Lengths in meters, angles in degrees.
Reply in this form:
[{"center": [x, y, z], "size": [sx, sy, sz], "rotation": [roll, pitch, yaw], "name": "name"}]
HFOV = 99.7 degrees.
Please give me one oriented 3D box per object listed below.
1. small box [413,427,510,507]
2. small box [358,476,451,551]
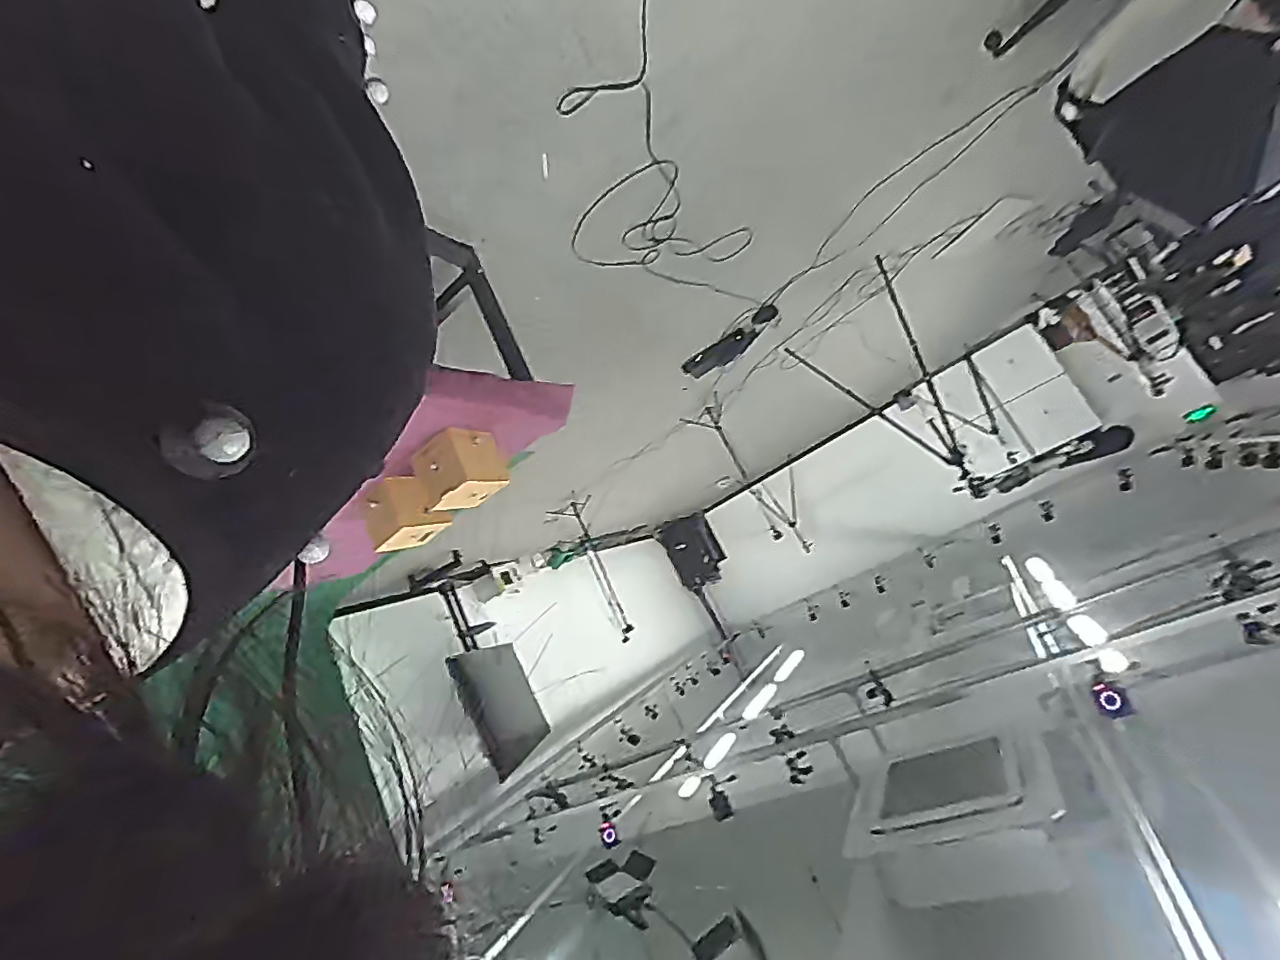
[{"center": [-0.508, -0.035, 1.531], "size": [0.168, 0.176, 0.179], "rotation": [-31, 165, 23], "name": "small box"}, {"center": [-0.716, 0.095, 1.641], "size": [0.168, 0.176, 0.179], "rotation": [-34, 164, 28], "name": "small box"}]
